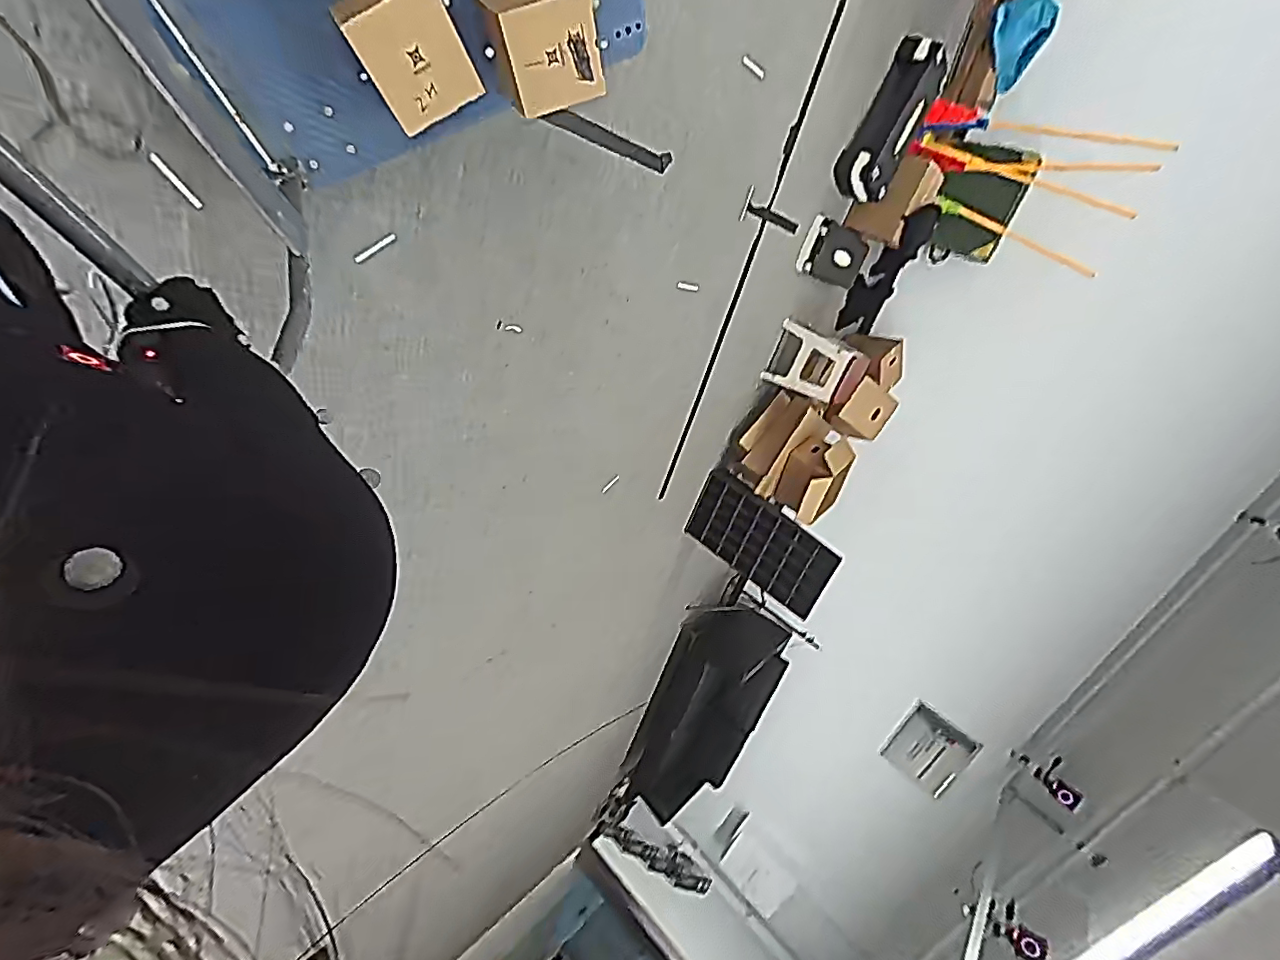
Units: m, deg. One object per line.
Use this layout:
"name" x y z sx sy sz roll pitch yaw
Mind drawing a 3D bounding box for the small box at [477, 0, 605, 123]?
"small box" -0.189 -0.829 1.039 0.179 0.176 0.168 -24 144 -9

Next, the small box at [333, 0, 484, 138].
"small box" -0.411 -0.757 0.957 0.168 0.176 0.179 -31 145 -1
